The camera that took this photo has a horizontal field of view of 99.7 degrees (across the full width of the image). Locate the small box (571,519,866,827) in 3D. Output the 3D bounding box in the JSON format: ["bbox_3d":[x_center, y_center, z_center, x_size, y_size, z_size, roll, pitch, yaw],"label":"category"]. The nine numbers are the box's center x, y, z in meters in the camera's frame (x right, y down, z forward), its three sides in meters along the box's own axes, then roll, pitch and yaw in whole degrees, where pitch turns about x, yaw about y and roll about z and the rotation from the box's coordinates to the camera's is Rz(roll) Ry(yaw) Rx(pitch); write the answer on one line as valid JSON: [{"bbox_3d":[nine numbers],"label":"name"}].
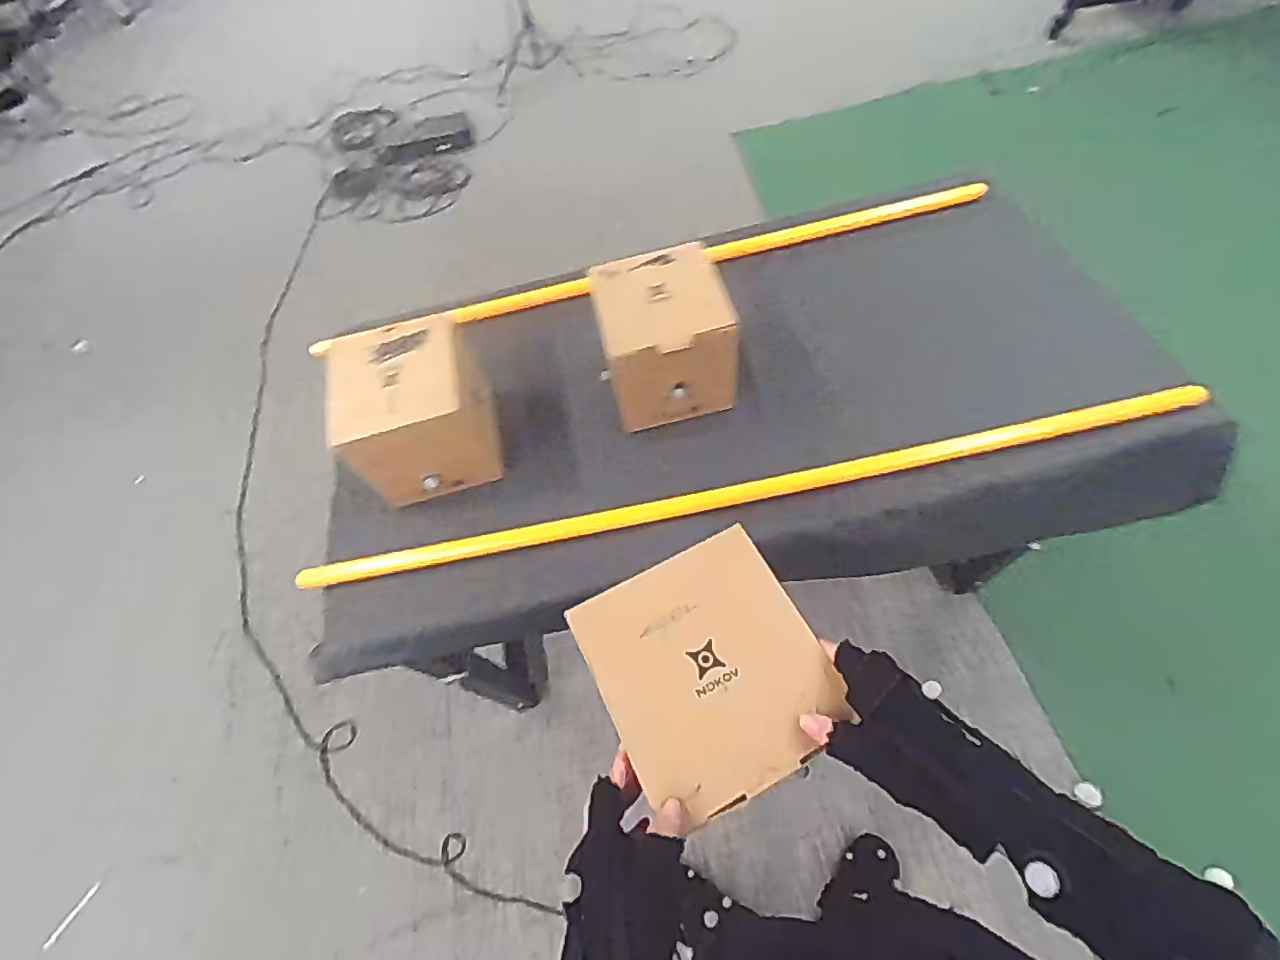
[{"bbox_3d":[0.057,0.169,0.479,0.168,0.176,0.179,-25,63,-11],"label":"small box"}]

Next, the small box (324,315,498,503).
[{"bbox_3d":[-0.312,-0.095,0.761,0.168,0.176,0.179,-16,60,-2],"label":"small box"}]

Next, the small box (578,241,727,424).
[{"bbox_3d":[0.023,-0.201,0.782,0.168,0.176,0.179,-17,59,-1],"label":"small box"}]
